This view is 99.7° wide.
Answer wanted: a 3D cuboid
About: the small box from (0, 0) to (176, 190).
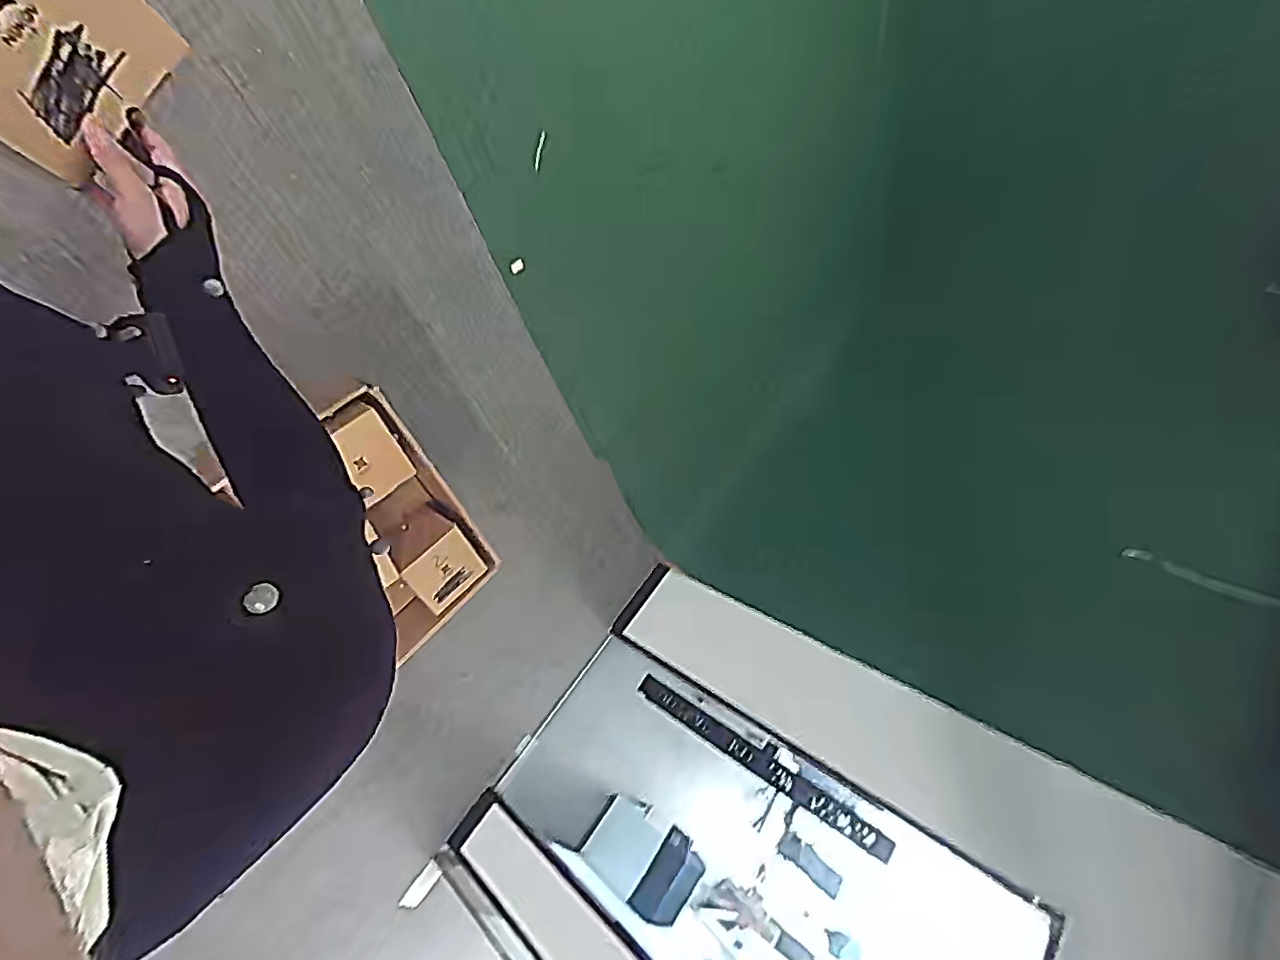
[{"bbox_3d":[-0.536,-0.369,0.423,0.168,0.176,0.179,-62,152,-7],"label":"small box"}]
